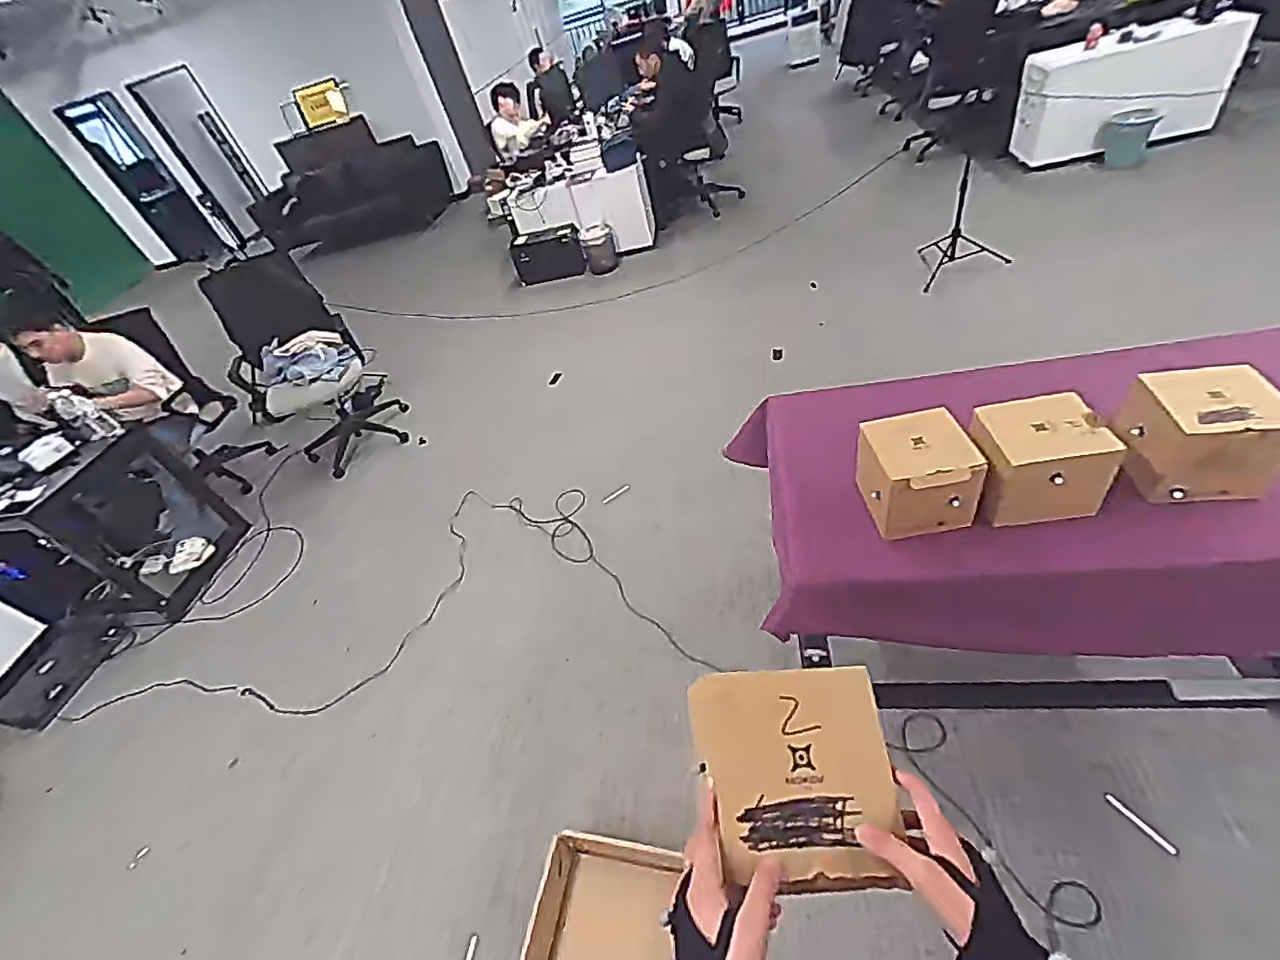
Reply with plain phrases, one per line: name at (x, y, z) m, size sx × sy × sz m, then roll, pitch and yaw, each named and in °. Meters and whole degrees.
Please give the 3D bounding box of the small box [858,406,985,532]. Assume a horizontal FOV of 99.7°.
small box at (0.537, -0.013, 1.059) m, size 0.168 × 0.176 × 0.179 m, roll -11°, pitch 43°, yaw 8°

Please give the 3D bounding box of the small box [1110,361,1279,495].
small box at (0.995, -0.085, 0.966) m, size 0.168 × 0.176 × 0.179 m, roll -4°, pitch 44°, yaw 16°
